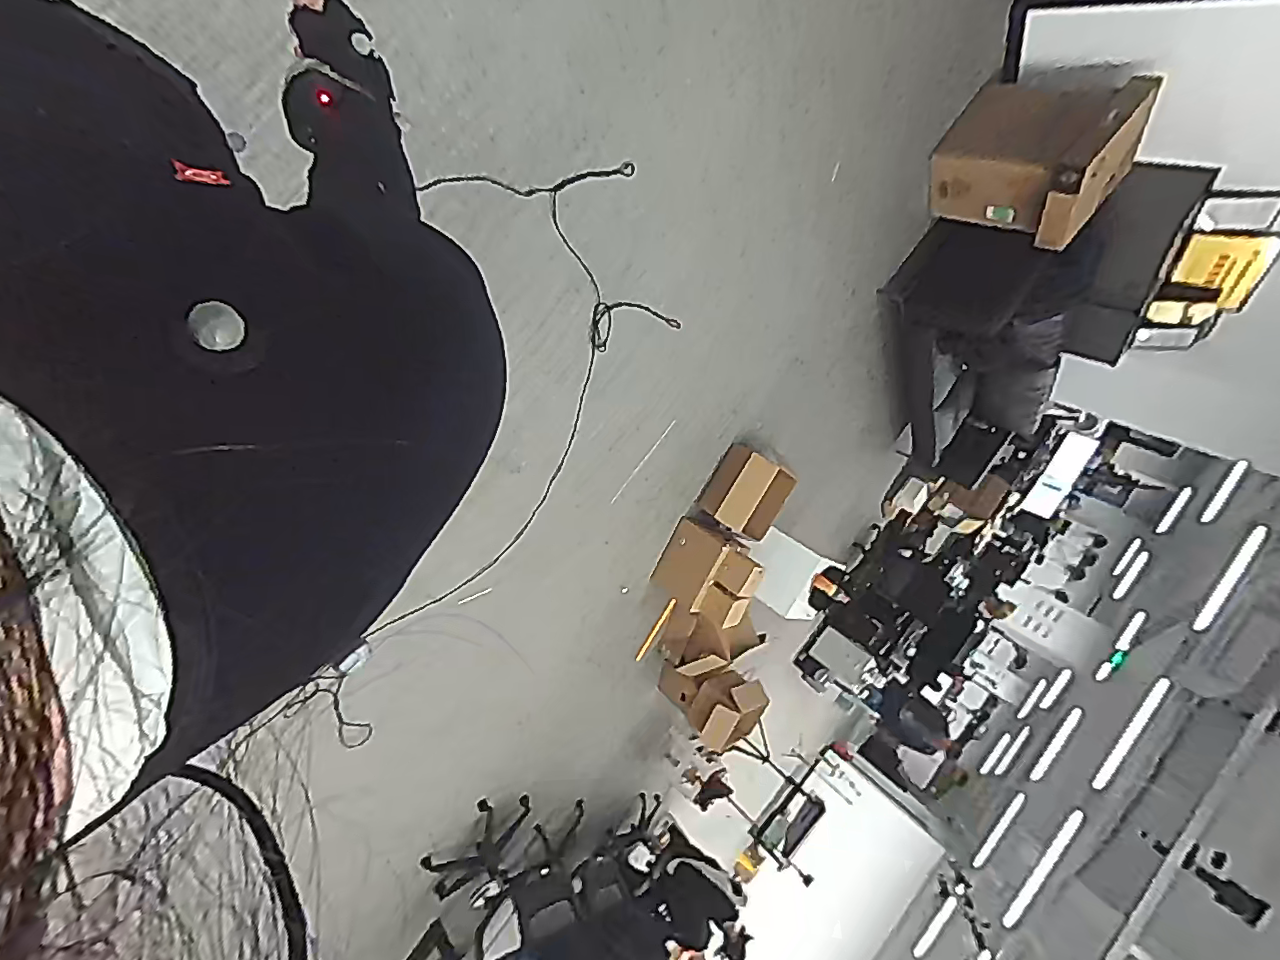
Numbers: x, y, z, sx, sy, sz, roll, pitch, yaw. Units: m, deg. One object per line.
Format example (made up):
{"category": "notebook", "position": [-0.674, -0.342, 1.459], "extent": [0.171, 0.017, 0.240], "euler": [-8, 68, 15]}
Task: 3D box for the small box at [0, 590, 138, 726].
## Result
{"category": "small box", "position": [-1.144, 0.347, 1.058], "extent": [0.179, 0.176, 0.168], "euler": [-51, 145, -5]}
